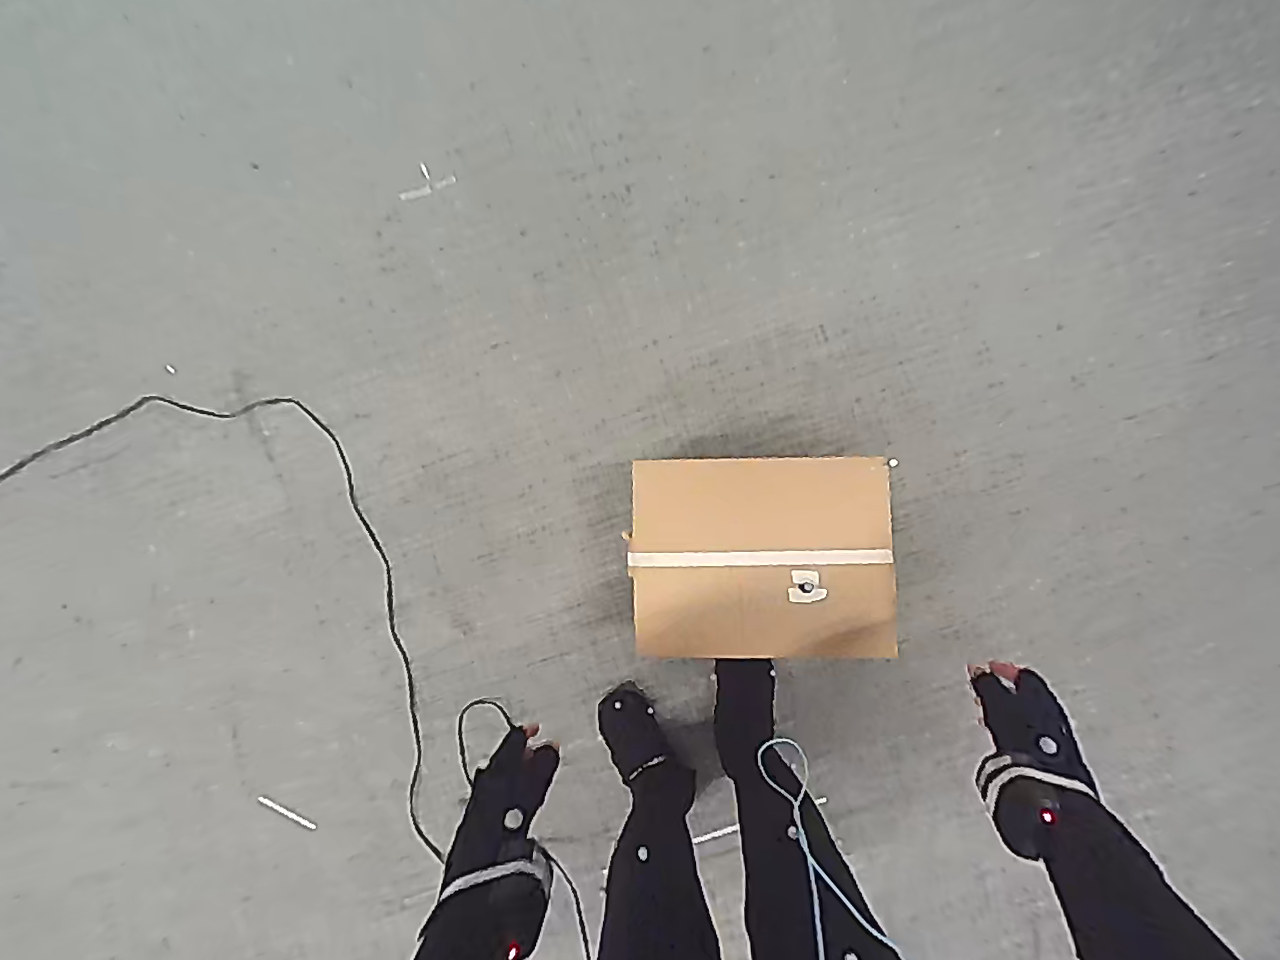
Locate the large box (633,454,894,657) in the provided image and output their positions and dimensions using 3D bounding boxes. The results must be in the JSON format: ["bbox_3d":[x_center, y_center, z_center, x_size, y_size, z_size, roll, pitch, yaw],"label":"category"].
[{"bbox_3d":[0.196,0.129,1.002,0.408,0.320,0.320,-1,87,2],"label":"large box"}]
